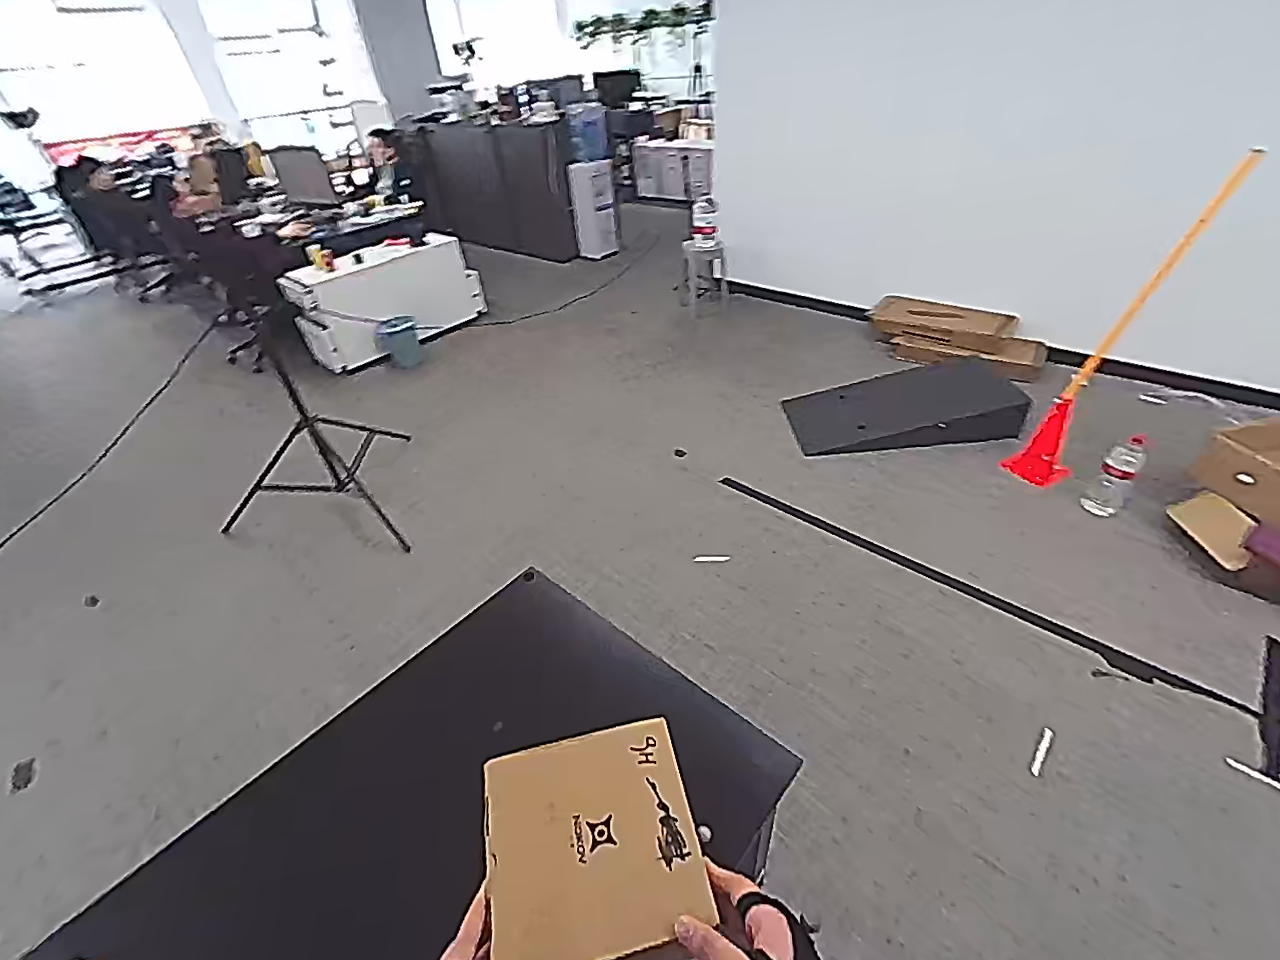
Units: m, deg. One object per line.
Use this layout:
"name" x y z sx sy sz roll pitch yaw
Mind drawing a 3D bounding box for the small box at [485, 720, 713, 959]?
"small box" -0.039 0.362 0.514 0.179 0.176 0.168 -11 44 -8
